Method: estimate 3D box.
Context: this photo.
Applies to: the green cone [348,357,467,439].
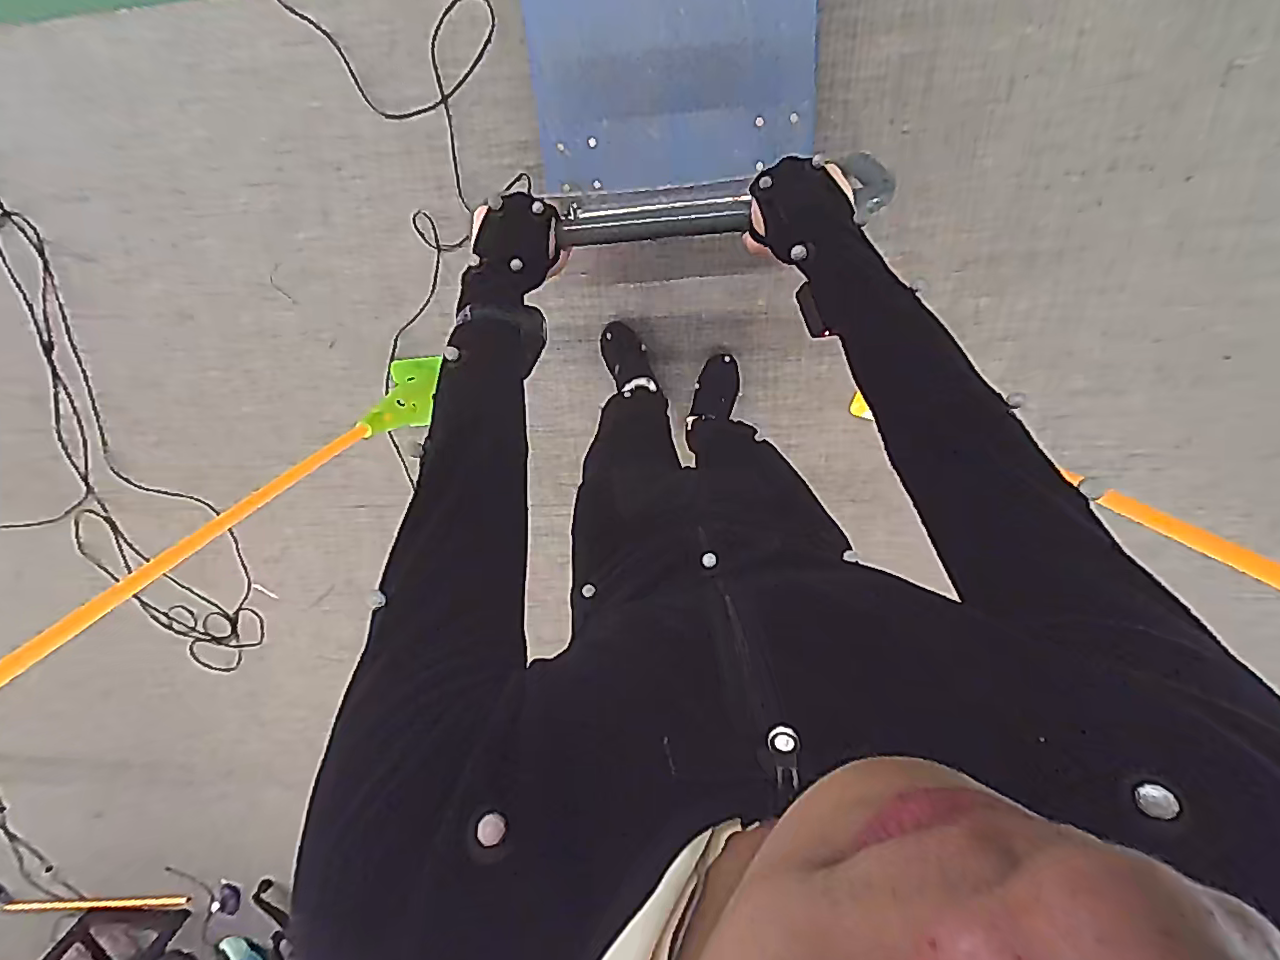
[{"bbox_3d":[-0.644,-0.191,1.437,0.202,0.368,0.200,-4,113,9],"label":"green cone"}]
